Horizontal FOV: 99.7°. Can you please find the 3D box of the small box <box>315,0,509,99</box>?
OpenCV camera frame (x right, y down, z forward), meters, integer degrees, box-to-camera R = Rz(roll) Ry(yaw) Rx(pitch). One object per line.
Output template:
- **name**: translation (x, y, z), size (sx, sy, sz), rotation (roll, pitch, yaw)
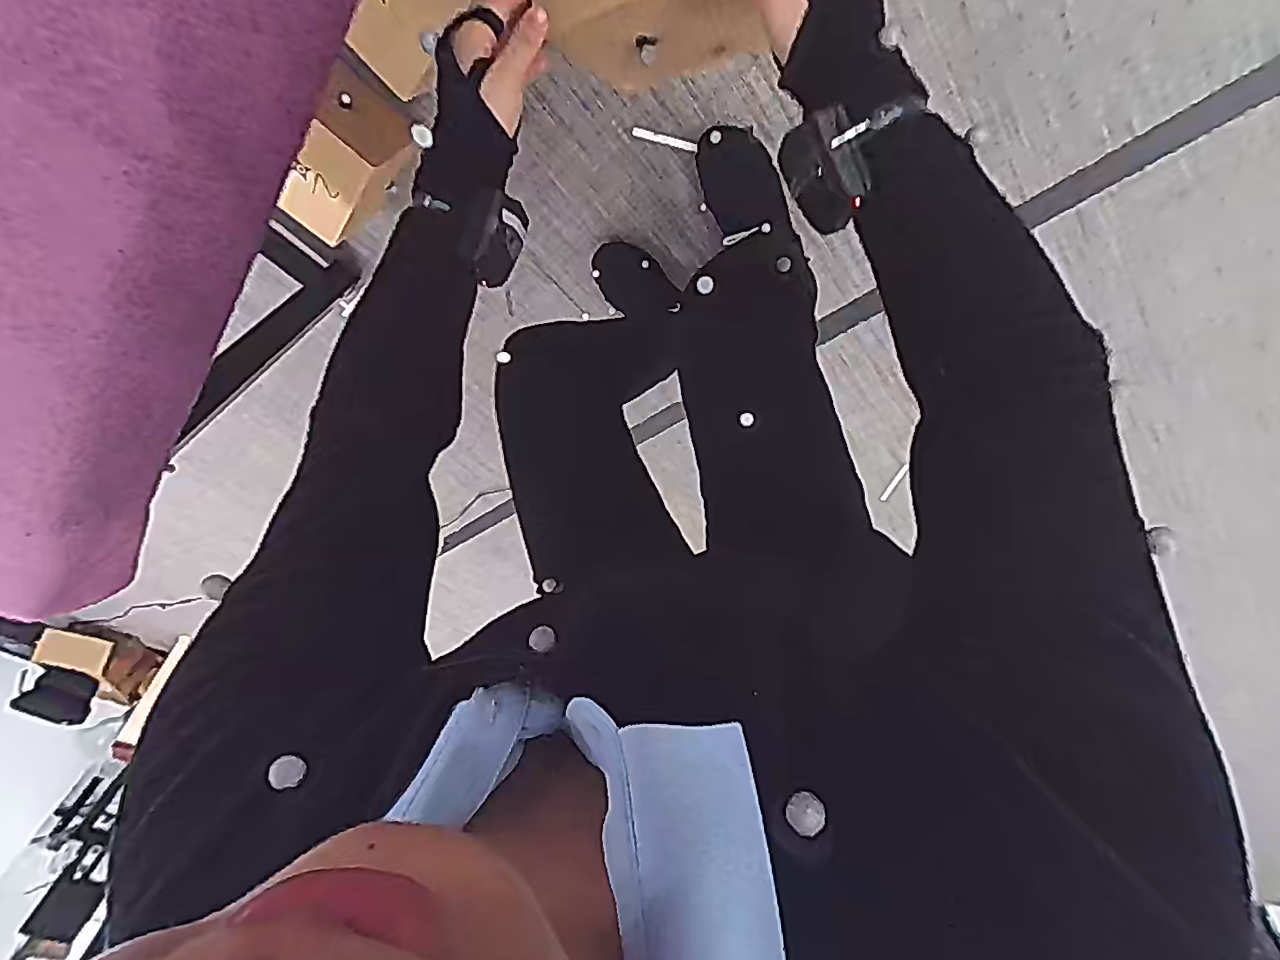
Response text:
- **small box**: translation (-0.282, -0.626, 0.666), size (0.168, 0.176, 0.179), rotation (-28, 123, 32)
